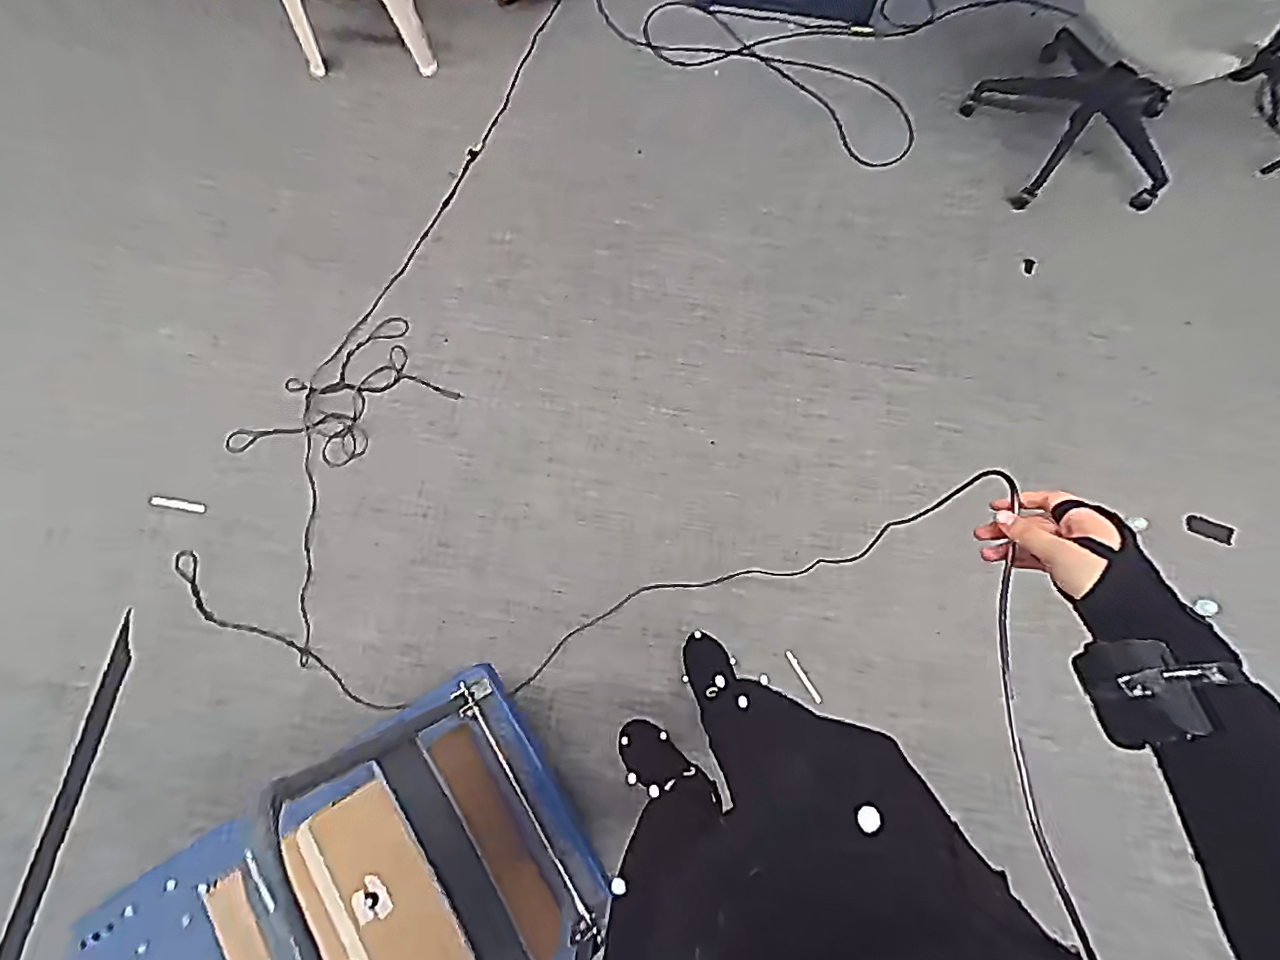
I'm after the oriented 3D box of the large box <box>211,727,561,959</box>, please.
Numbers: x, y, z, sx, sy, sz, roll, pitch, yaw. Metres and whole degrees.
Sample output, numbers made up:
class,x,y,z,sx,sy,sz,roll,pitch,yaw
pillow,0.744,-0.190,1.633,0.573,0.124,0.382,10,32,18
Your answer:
class,x,y,z,sx,sy,sz,roll,pitch,yaw
large box,-0.376,0.699,0.891,0.320,0.320,0.408,-31,78,-9
